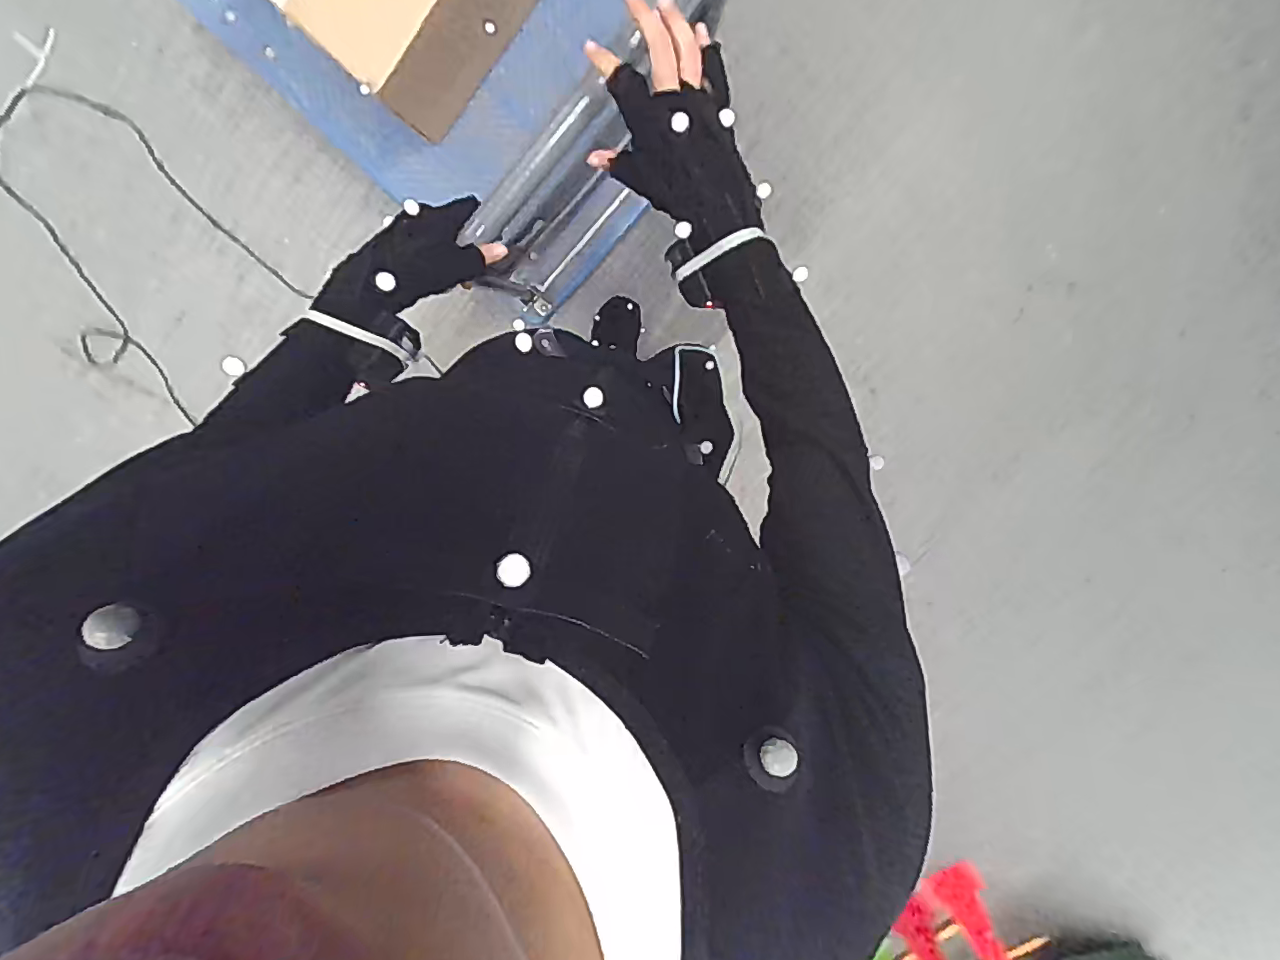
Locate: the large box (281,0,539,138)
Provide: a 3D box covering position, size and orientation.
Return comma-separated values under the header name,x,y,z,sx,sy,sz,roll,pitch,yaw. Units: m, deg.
name,x,y,z,sx,sy,sz,roll,pitch,yaw
large box,-0.363,-0.853,0.849,0.320,0.320,0.408,40,104,-14
